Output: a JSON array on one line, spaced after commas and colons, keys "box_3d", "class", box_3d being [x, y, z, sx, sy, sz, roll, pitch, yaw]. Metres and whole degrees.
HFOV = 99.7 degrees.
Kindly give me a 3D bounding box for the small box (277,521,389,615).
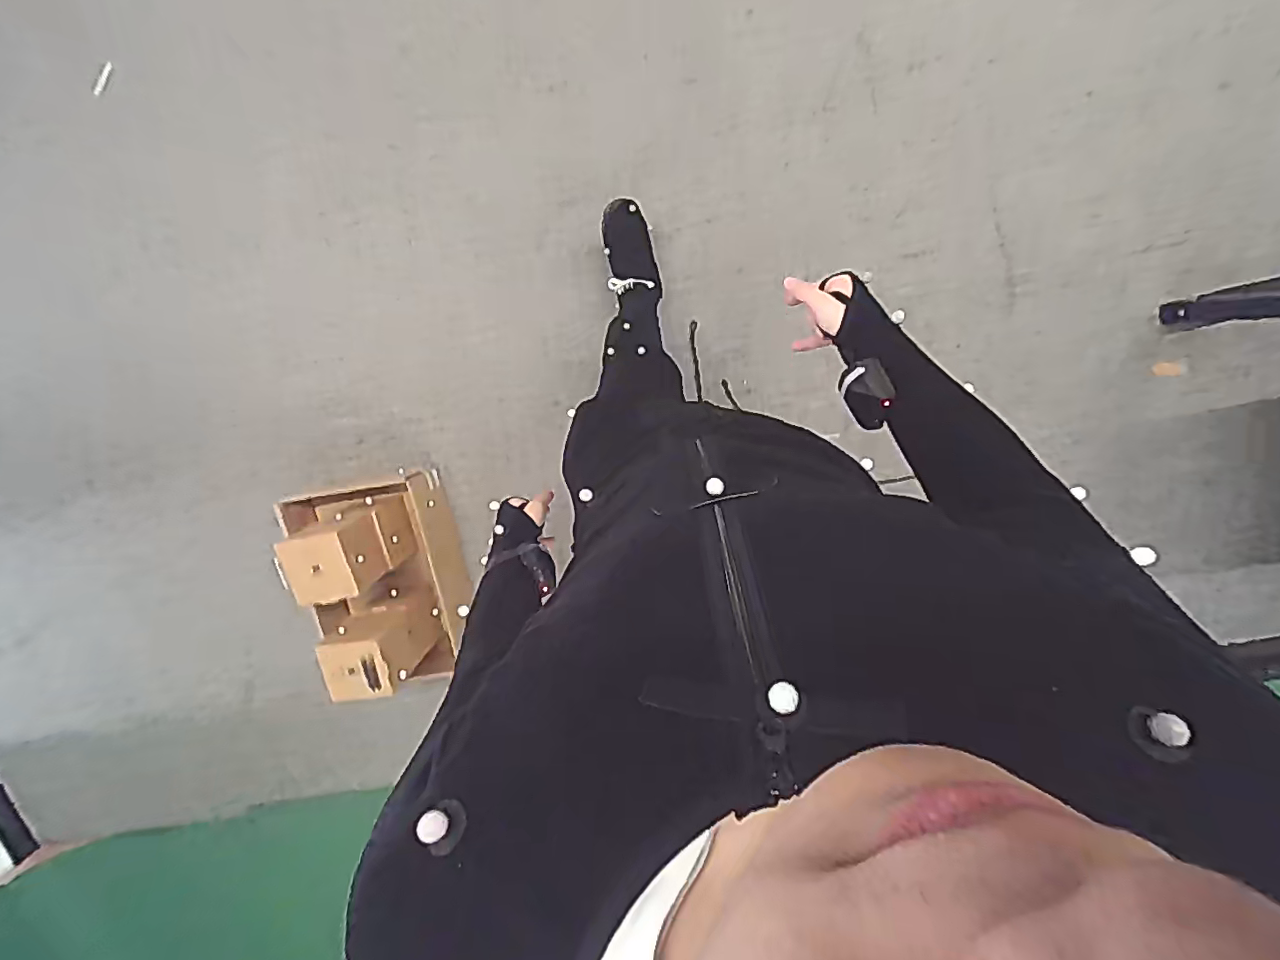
[{"box_3d": [-0.783, 0.224, 1.403, 0.168, 0.176, 0.179, -11, 103, 4], "class": "small box"}]
